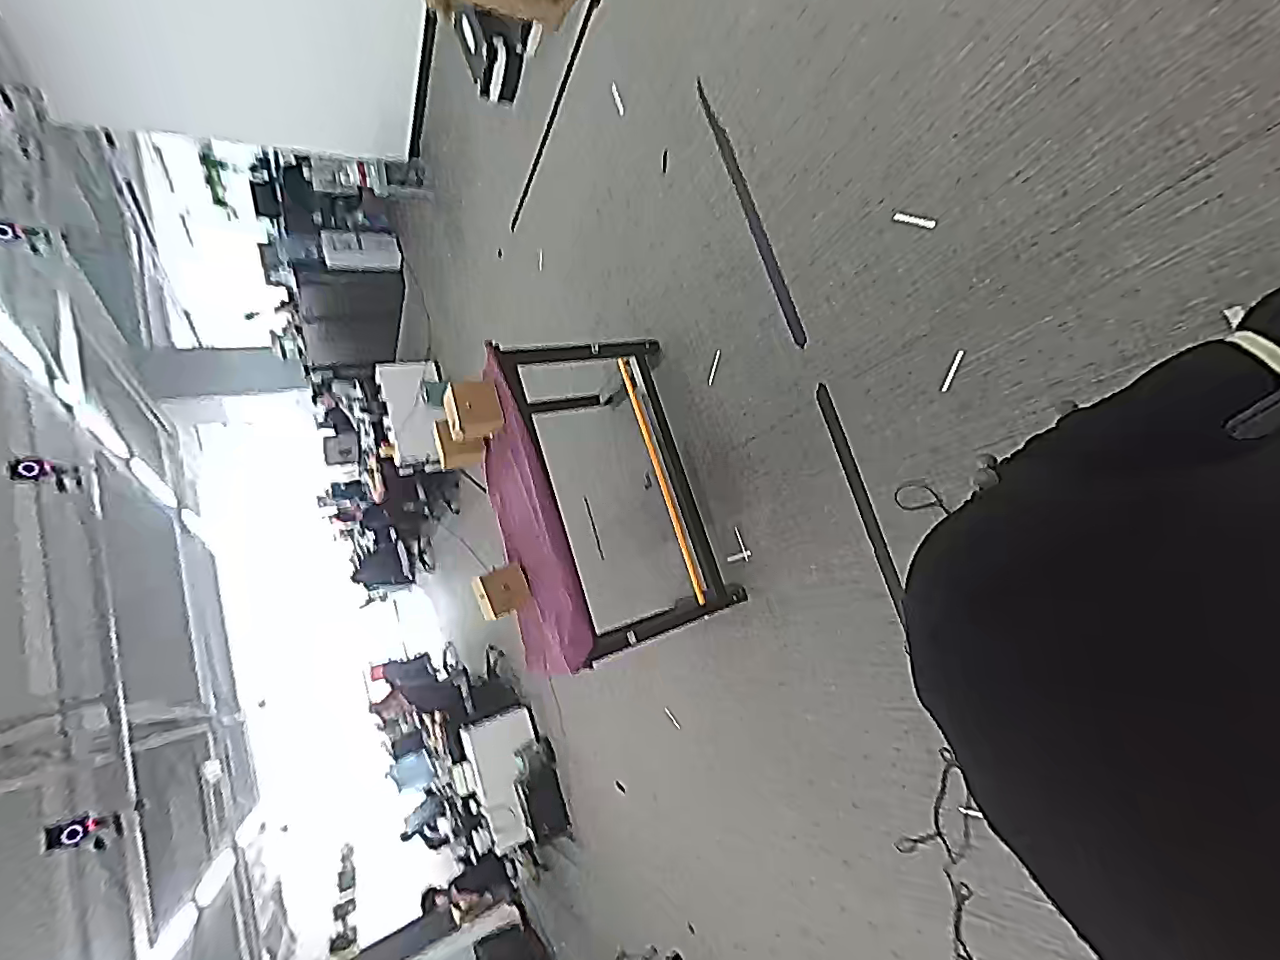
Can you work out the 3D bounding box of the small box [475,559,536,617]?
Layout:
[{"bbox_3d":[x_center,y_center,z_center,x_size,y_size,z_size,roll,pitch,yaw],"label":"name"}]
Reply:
[{"bbox_3d":[-0.541,0.433,2.157,0.176,0.168,0.179,-29,83,59],"label":"small box"}]

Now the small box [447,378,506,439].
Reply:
[{"bbox_3d":[-0.624,-0.275,2.064,0.168,0.176,0.179,-30,74,59],"label":"small box"}]
